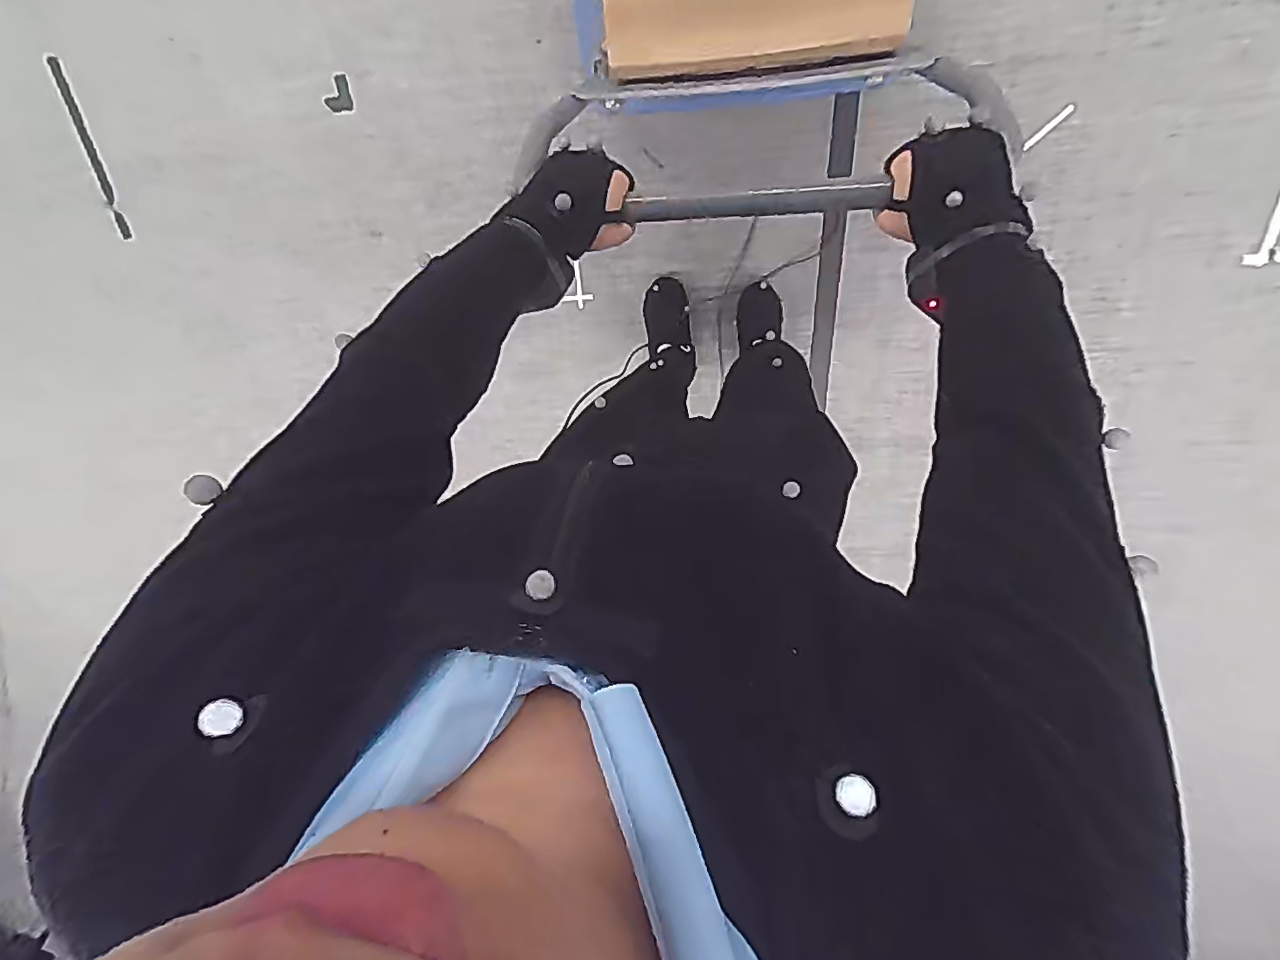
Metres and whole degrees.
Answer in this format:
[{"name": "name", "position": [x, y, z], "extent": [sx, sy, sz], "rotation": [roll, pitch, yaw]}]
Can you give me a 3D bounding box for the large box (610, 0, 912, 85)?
[{"name": "large box", "position": [0.162, -0.797, 0.783], "extent": [0.408, 0.320, 0.320], "rotation": [-1, 130, 9]}]
